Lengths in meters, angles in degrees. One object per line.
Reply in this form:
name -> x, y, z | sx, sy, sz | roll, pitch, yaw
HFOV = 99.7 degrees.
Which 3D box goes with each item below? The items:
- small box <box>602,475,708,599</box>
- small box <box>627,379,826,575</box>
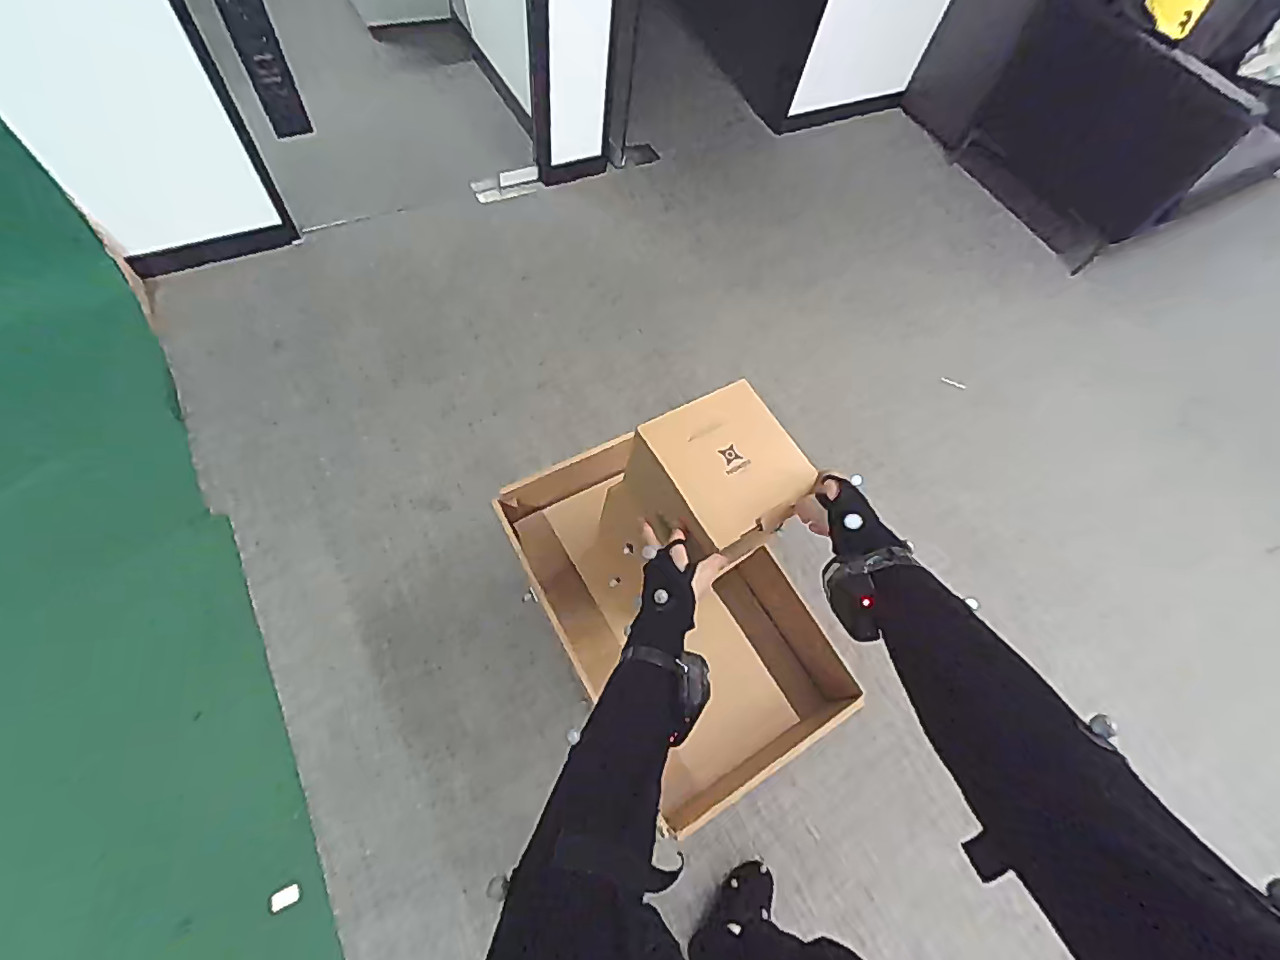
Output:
small box -> 0.056, 0.071, 0.853 | 0.168, 0.176, 0.179 | -30, 74, -21
small box -> 0.099, 0.007, 0.704 | 0.168, 0.176, 0.179 | -26, 70, -20
